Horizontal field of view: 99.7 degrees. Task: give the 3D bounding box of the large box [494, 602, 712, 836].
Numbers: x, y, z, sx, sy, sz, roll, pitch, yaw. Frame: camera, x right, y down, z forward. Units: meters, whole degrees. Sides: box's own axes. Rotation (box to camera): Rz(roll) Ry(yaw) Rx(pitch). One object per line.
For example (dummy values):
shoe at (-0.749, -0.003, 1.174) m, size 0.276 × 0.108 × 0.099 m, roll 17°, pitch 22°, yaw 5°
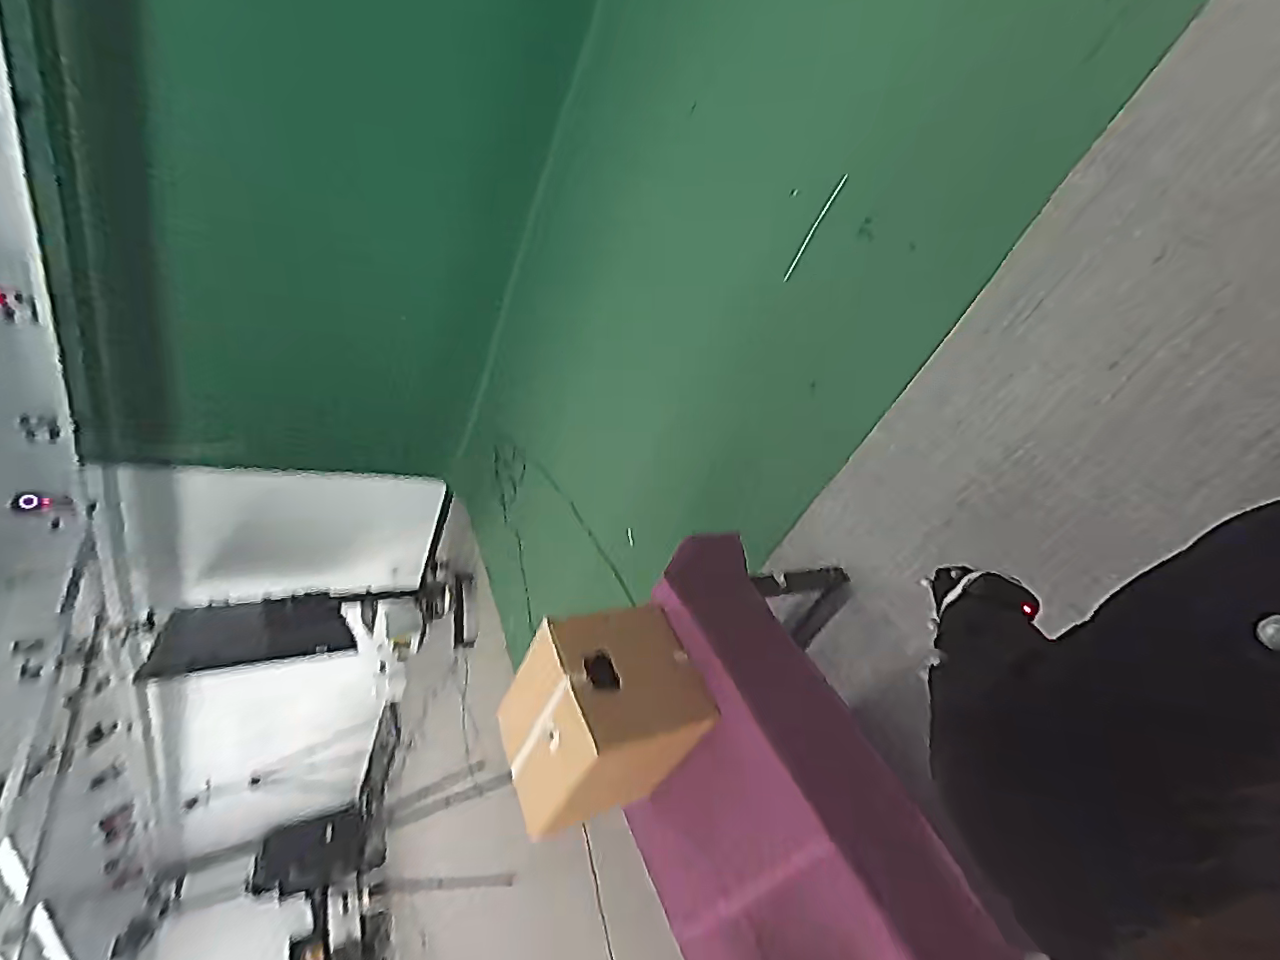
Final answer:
large box at (-0.105, 0.540, 1.262) m, size 0.320 × 0.320 × 0.408 m, roll 56°, pitch 130°, yaw 38°
